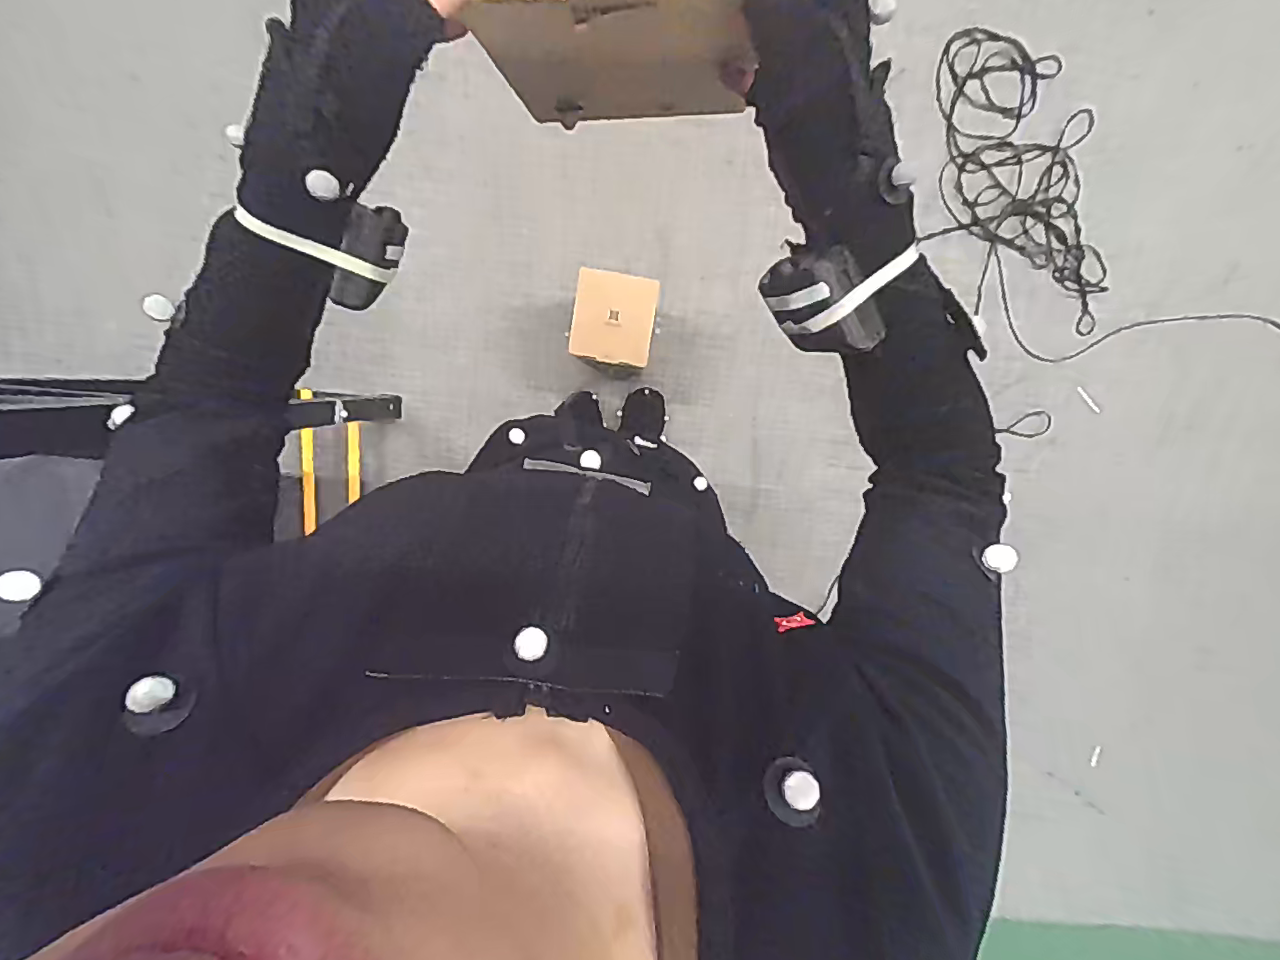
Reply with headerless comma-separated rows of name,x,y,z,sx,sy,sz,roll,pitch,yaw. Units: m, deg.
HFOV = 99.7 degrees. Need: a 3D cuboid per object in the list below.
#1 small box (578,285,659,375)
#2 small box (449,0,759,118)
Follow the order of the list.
small box,-0.053,-0.365,1.341,0.168,0.176,0.179,11,100,-2
small box,-0.011,-0.342,0.325,0.168,0.176,0.179,0,104,5
